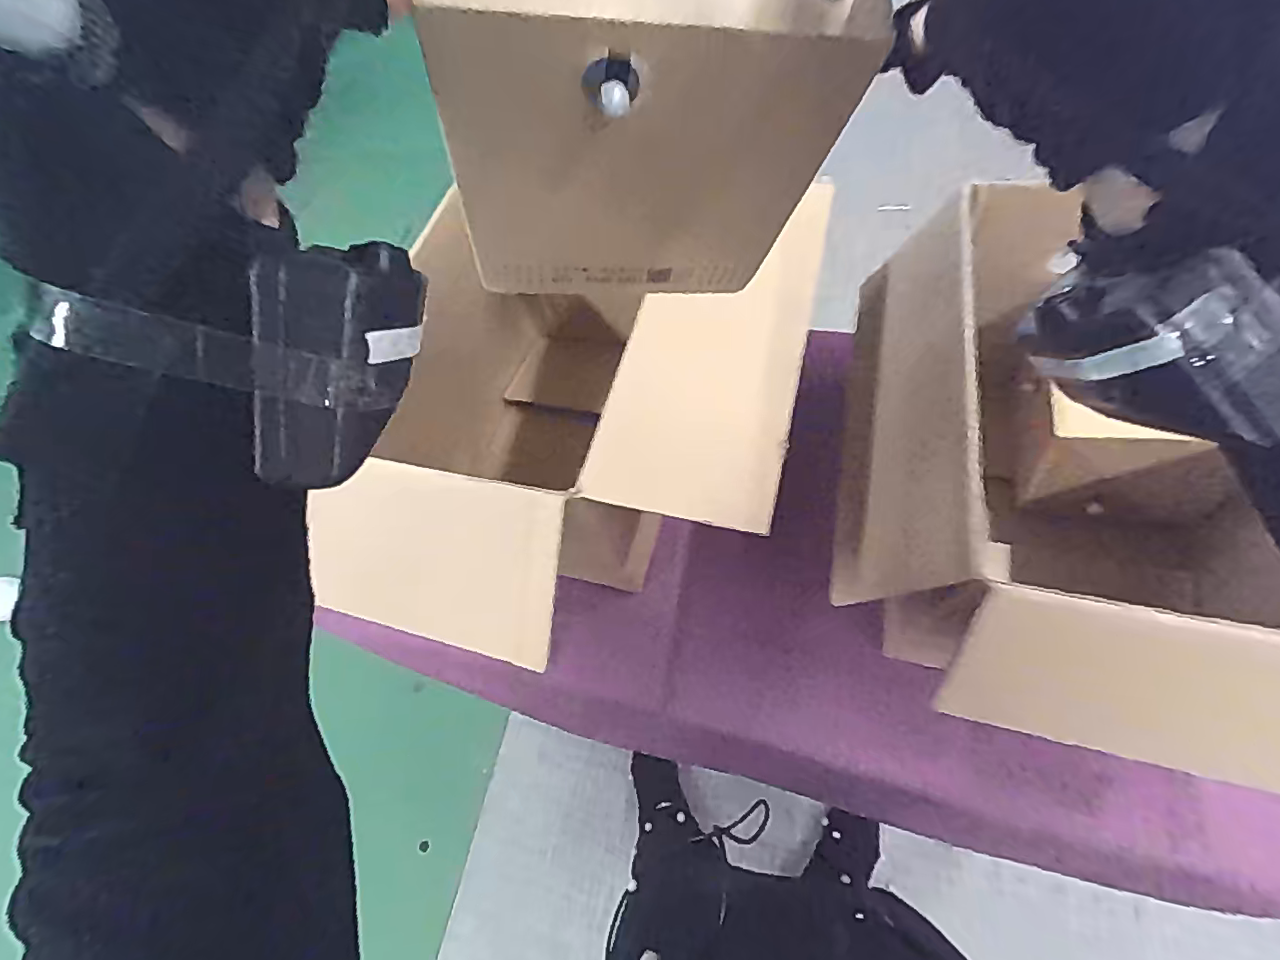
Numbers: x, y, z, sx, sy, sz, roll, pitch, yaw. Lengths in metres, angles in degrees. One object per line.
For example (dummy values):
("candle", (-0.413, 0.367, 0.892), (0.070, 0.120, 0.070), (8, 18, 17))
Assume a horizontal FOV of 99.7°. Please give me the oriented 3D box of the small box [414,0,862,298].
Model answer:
("small box", (-0.012, -0.222, 0.288), (0.168, 0.176, 0.179), (-3, 78, -8))
